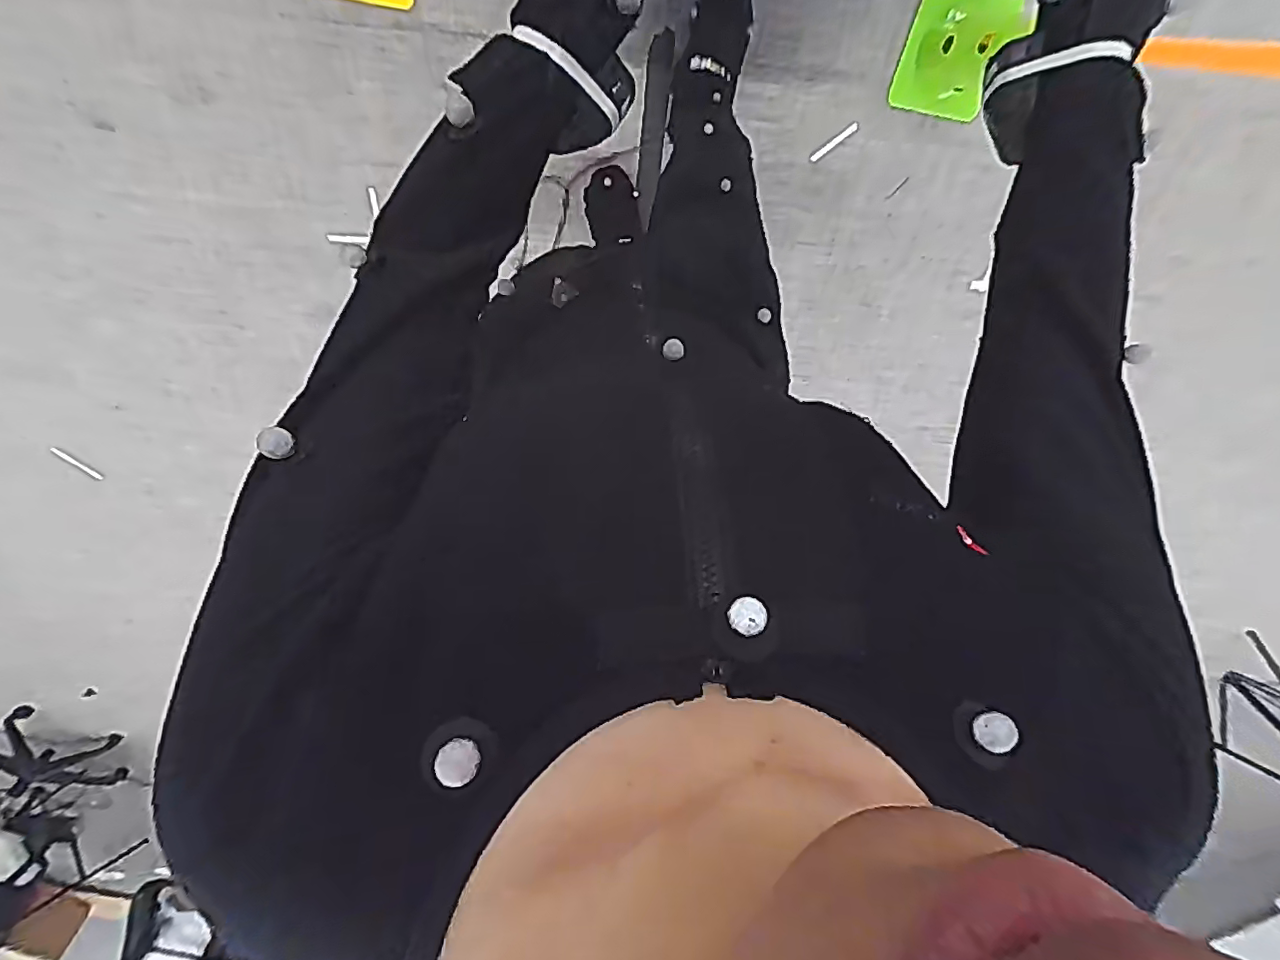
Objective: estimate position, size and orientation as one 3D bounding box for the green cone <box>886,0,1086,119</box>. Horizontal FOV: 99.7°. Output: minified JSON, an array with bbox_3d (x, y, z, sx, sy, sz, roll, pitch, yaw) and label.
[{"bbox_3d":[0.620,-0.743,0.934,0.202,0.368,0.200,6,127,-7],"label":"green cone"}]
